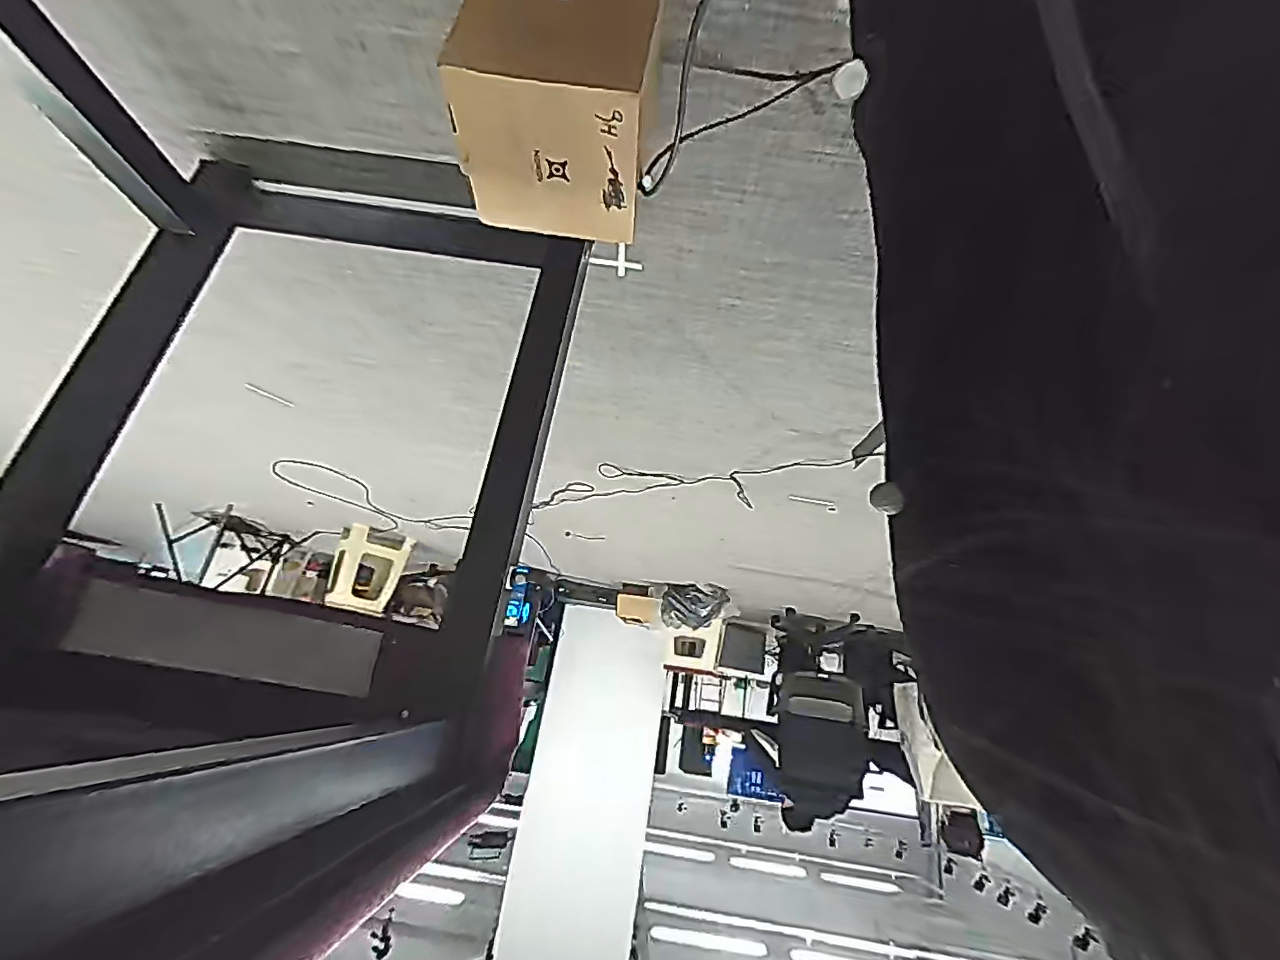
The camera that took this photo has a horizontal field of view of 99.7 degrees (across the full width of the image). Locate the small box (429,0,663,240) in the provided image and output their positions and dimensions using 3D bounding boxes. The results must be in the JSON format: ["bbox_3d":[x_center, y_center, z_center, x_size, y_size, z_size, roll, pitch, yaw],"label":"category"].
[{"bbox_3d":[-0.082,-0.382,0.547,0.179,0.176,0.168,10,159,0],"label":"small box"}]
